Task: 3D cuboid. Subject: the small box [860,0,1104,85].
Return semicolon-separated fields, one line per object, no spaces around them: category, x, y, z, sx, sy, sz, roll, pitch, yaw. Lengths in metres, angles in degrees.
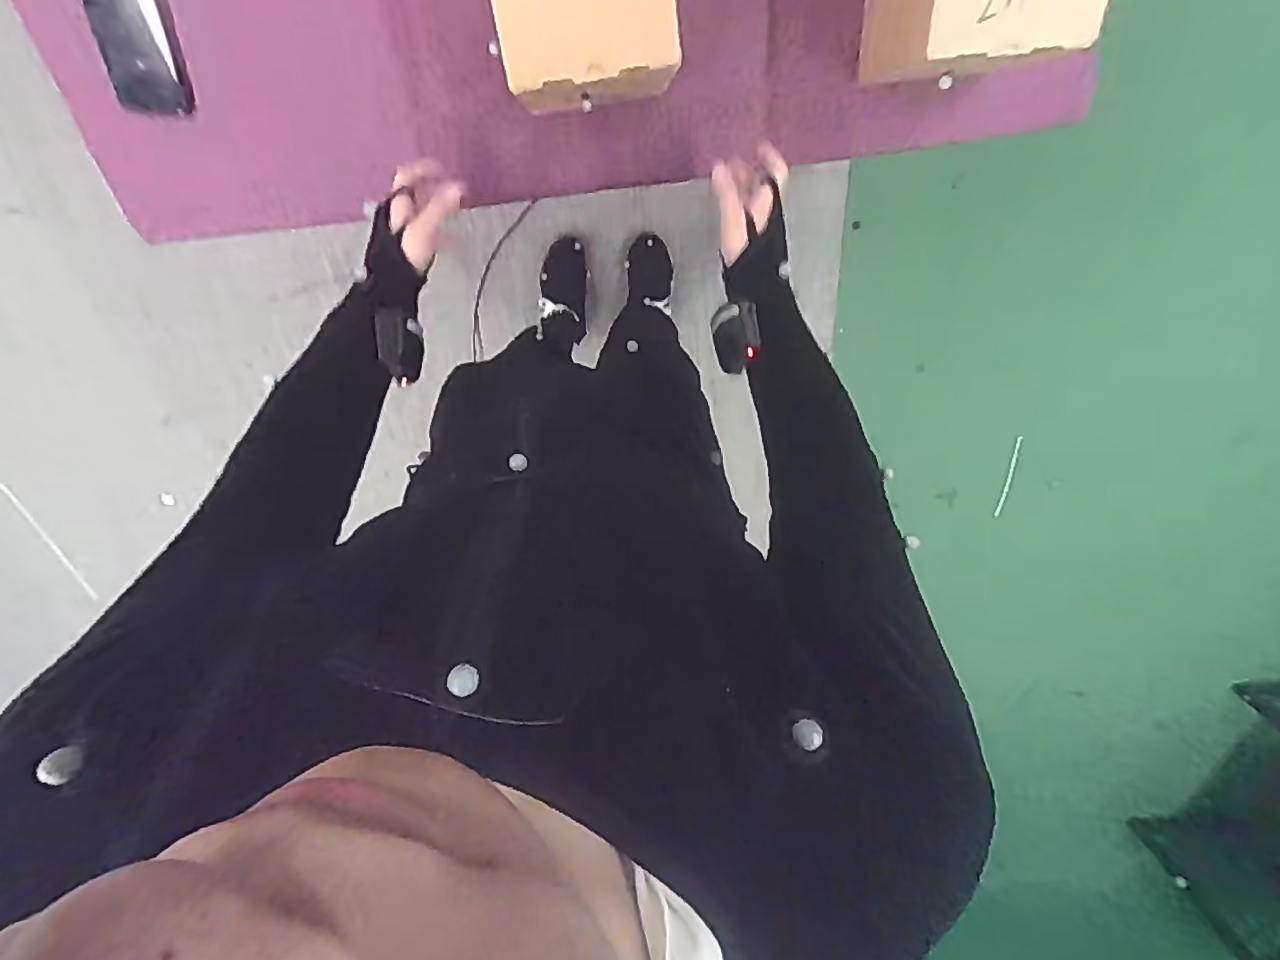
small box;0.341;-0.522;0.544;0.168;0.176;0.179;-4;120;0

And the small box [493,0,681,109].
small box;-0.059;-0.492;0.536;0.168;0.176;0.179;-9;120;0
